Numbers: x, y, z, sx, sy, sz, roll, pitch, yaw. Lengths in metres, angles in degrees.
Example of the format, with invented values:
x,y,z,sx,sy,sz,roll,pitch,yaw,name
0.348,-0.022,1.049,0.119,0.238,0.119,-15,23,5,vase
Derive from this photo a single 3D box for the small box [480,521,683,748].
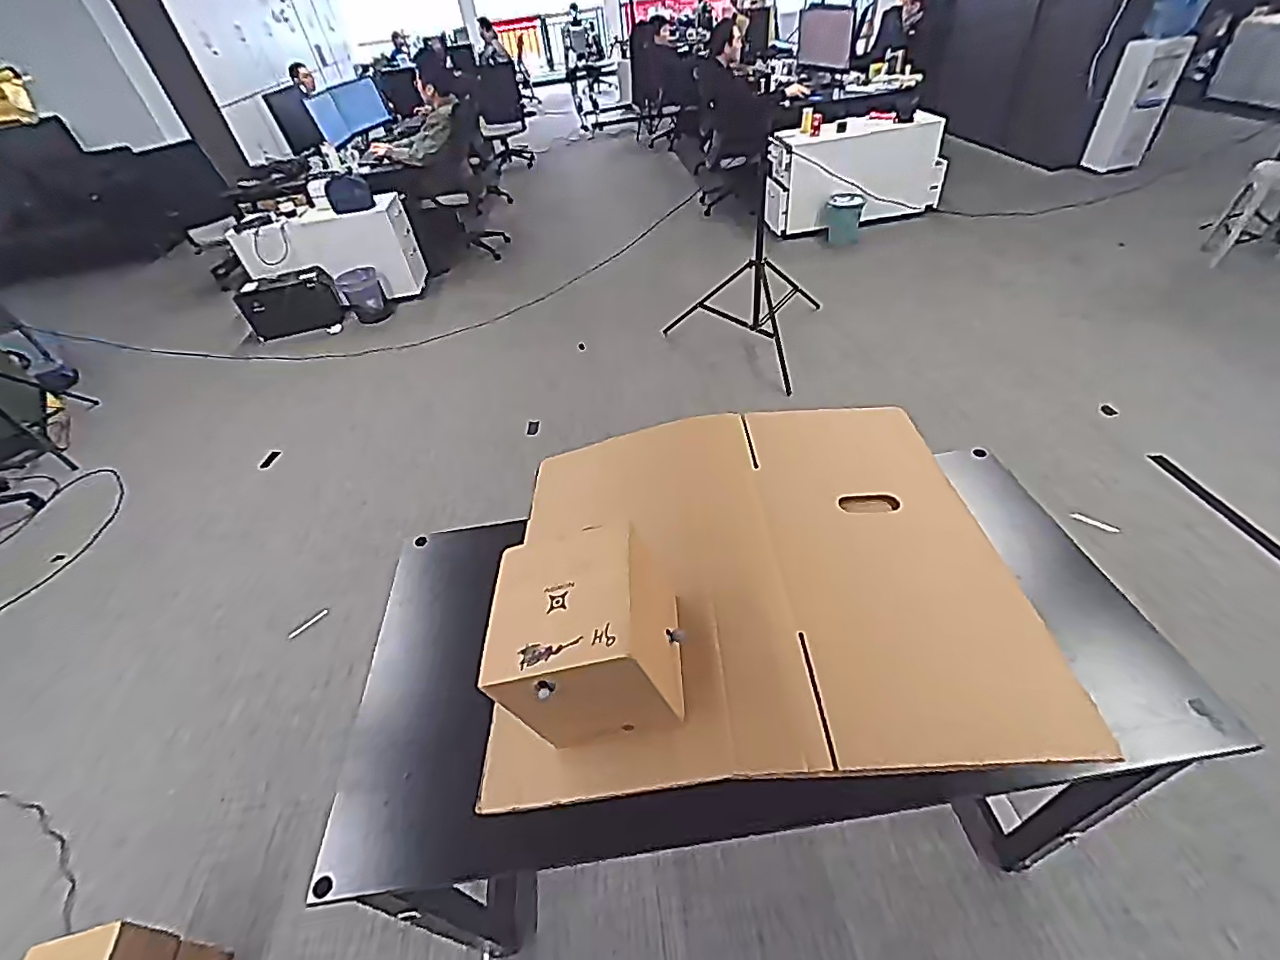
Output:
x,y,z,sx,sy,sz,roll,pitch,yaw,name
-0.055,0.180,0.626,0.168,0.176,0.179,-17,41,13,small box

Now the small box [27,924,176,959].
x,y,z,sx,sy,sz,roll,pitch,yaw,name
-1.022,0.967,1.002,0.168,0.176,0.179,-13,42,-6,small box

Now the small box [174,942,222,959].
x,y,z,sx,sy,sz,roll,pitch,yaw,name
-1.002,1.089,1.108,0.168,0.176,0.179,-12,43,-3,small box
